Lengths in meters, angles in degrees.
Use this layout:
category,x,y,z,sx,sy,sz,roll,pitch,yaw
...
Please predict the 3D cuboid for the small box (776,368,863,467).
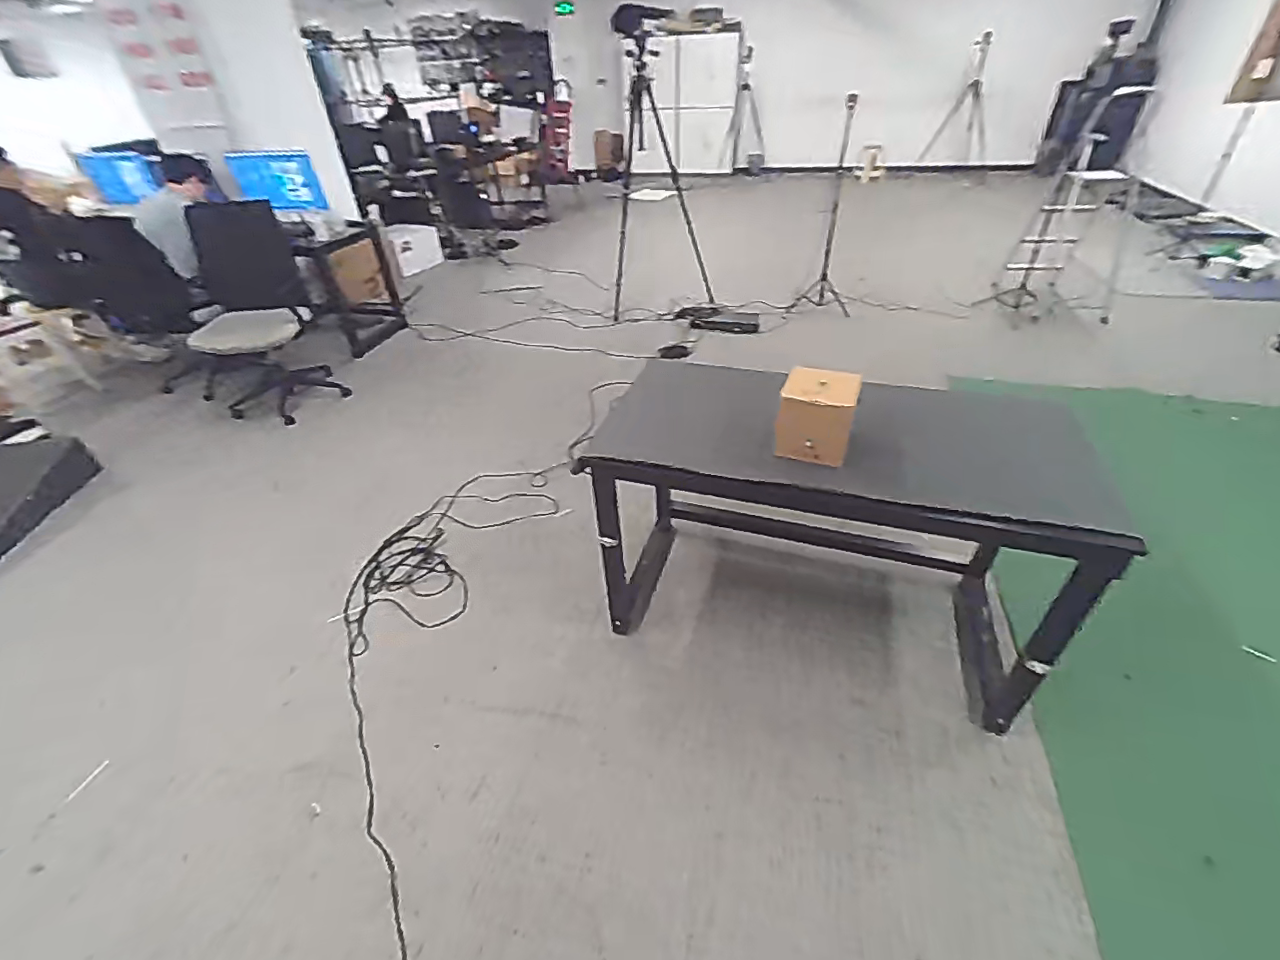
category,x,y,z,sx,sy,sz,roll,pitch,yaw
small box,0.439,-0.156,1.332,0.168,0.176,0.179,12,39,21
